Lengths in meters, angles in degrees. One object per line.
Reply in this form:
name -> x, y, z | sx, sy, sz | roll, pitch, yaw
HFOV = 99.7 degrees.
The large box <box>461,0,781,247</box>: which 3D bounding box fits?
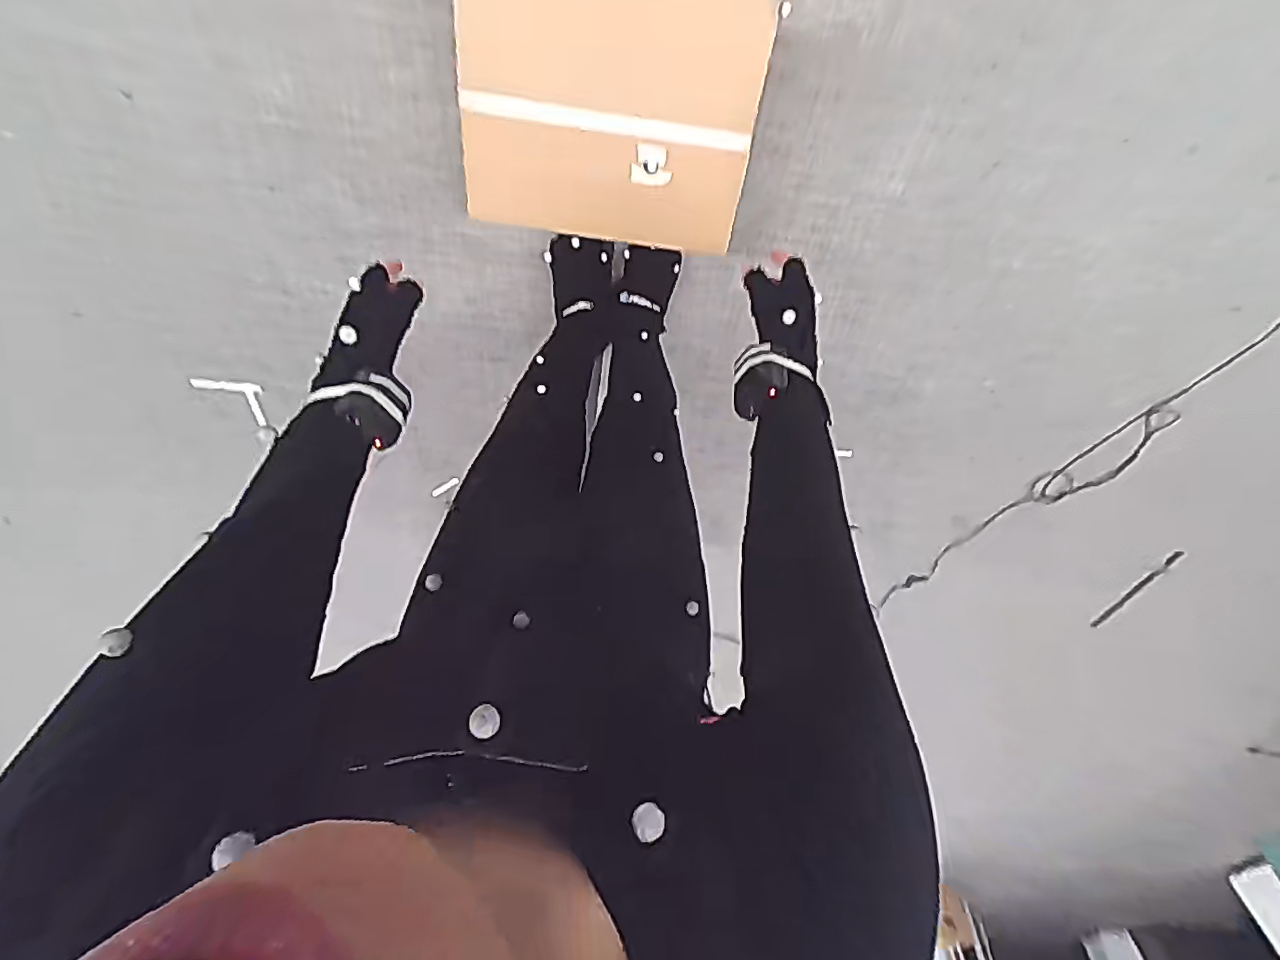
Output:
large box -> -0.039, -0.597, 0.864 | 0.408, 0.320, 0.320 | 6, 130, -5
